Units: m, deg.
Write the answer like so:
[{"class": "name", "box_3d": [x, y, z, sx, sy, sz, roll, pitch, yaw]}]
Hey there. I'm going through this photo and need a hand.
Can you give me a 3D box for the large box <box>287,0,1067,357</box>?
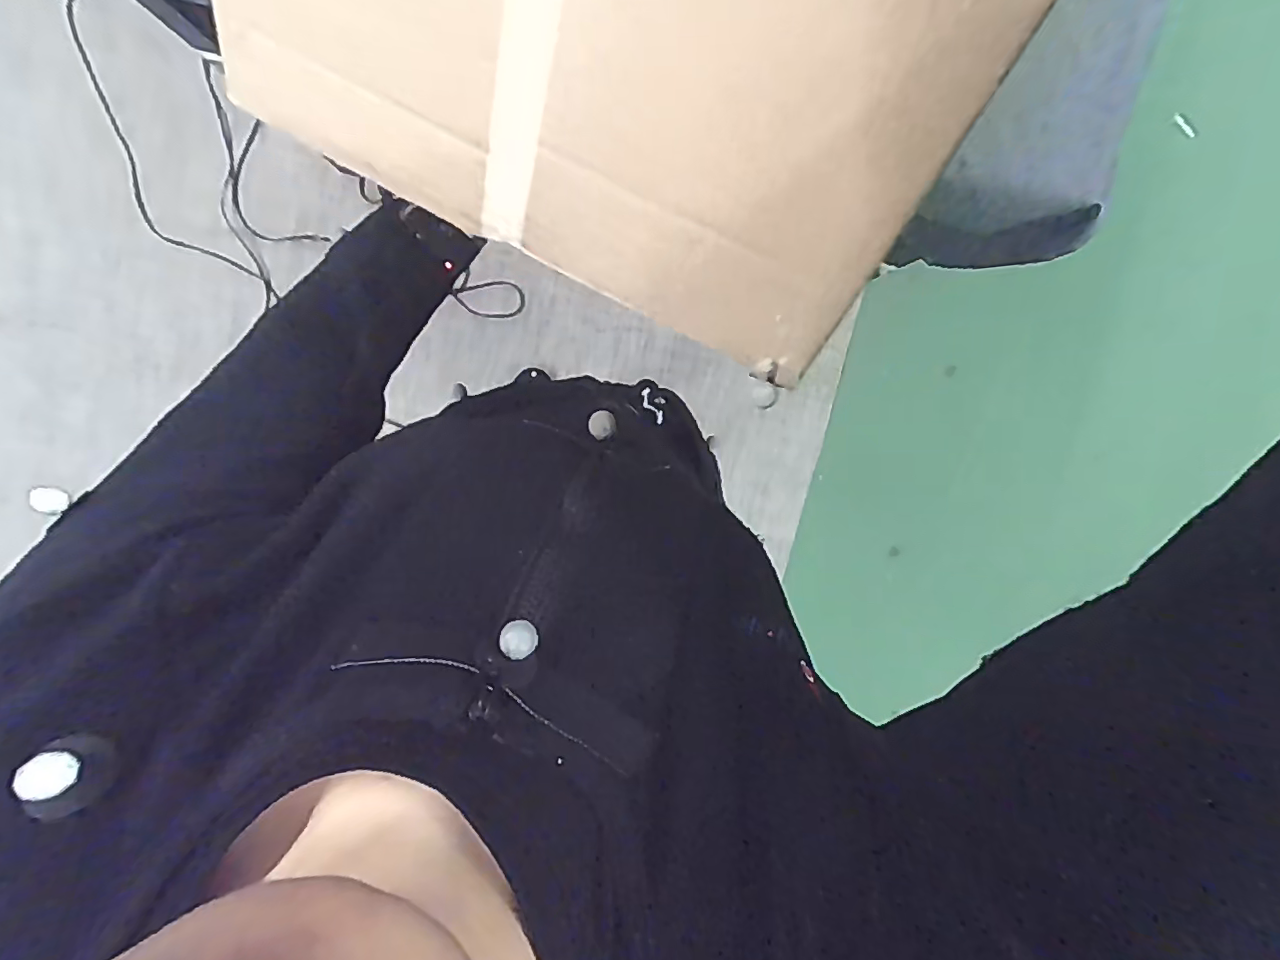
[{"class": "large box", "box_3d": [0.063, -0.349, 0.248, 0.320, 0.320, 0.408, 27, 134, 2]}]
